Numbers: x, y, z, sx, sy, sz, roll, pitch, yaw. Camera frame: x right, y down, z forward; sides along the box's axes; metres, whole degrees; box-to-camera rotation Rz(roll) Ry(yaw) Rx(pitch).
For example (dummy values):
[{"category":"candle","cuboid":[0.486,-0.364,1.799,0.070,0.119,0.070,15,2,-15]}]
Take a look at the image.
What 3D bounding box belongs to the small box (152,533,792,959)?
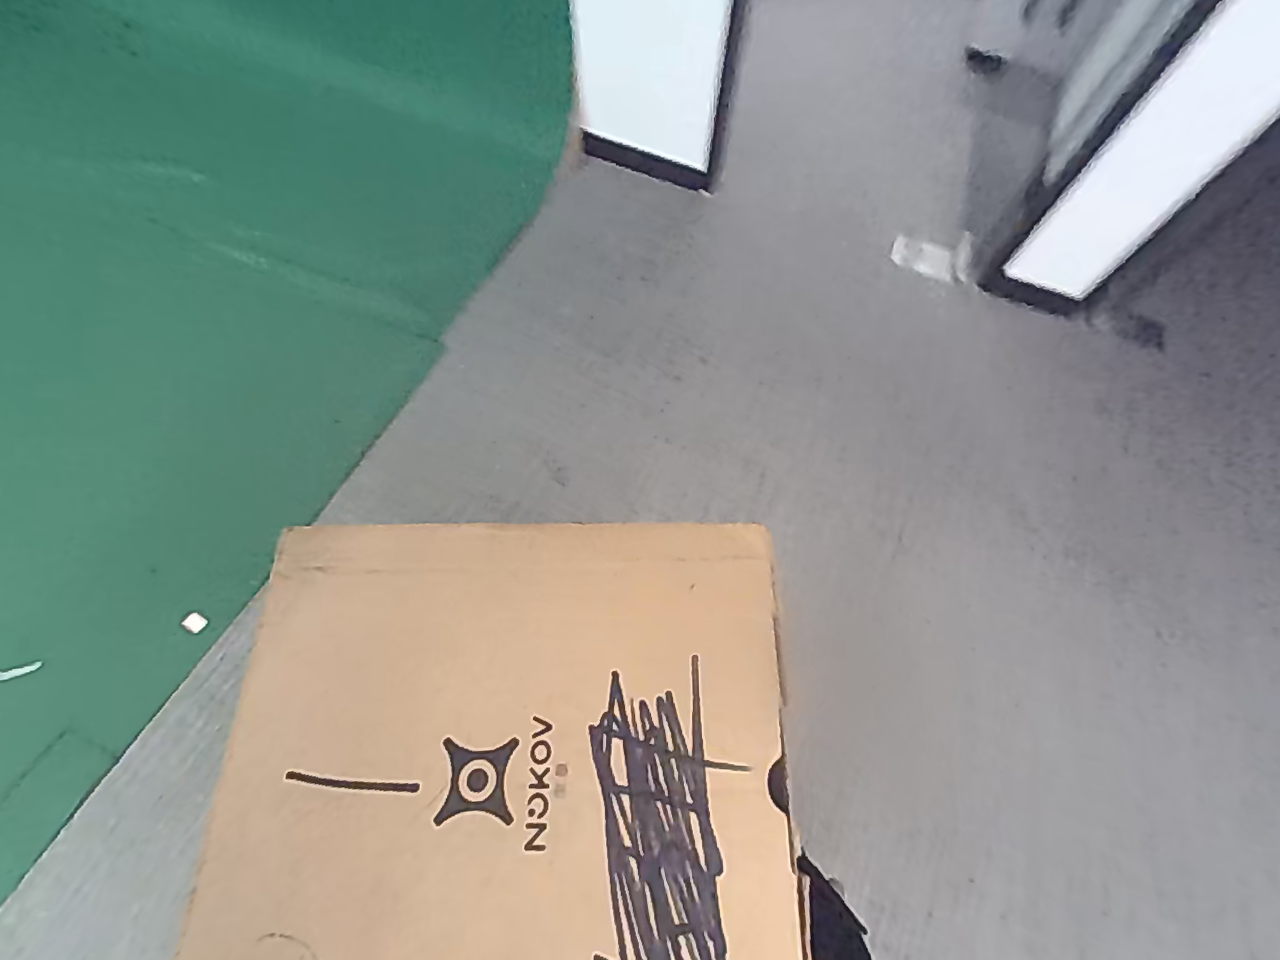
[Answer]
[{"category":"small box","cuboid":[-0.045,0.124,0.234,0.179,0.176,0.168,-1,68,1]}]
